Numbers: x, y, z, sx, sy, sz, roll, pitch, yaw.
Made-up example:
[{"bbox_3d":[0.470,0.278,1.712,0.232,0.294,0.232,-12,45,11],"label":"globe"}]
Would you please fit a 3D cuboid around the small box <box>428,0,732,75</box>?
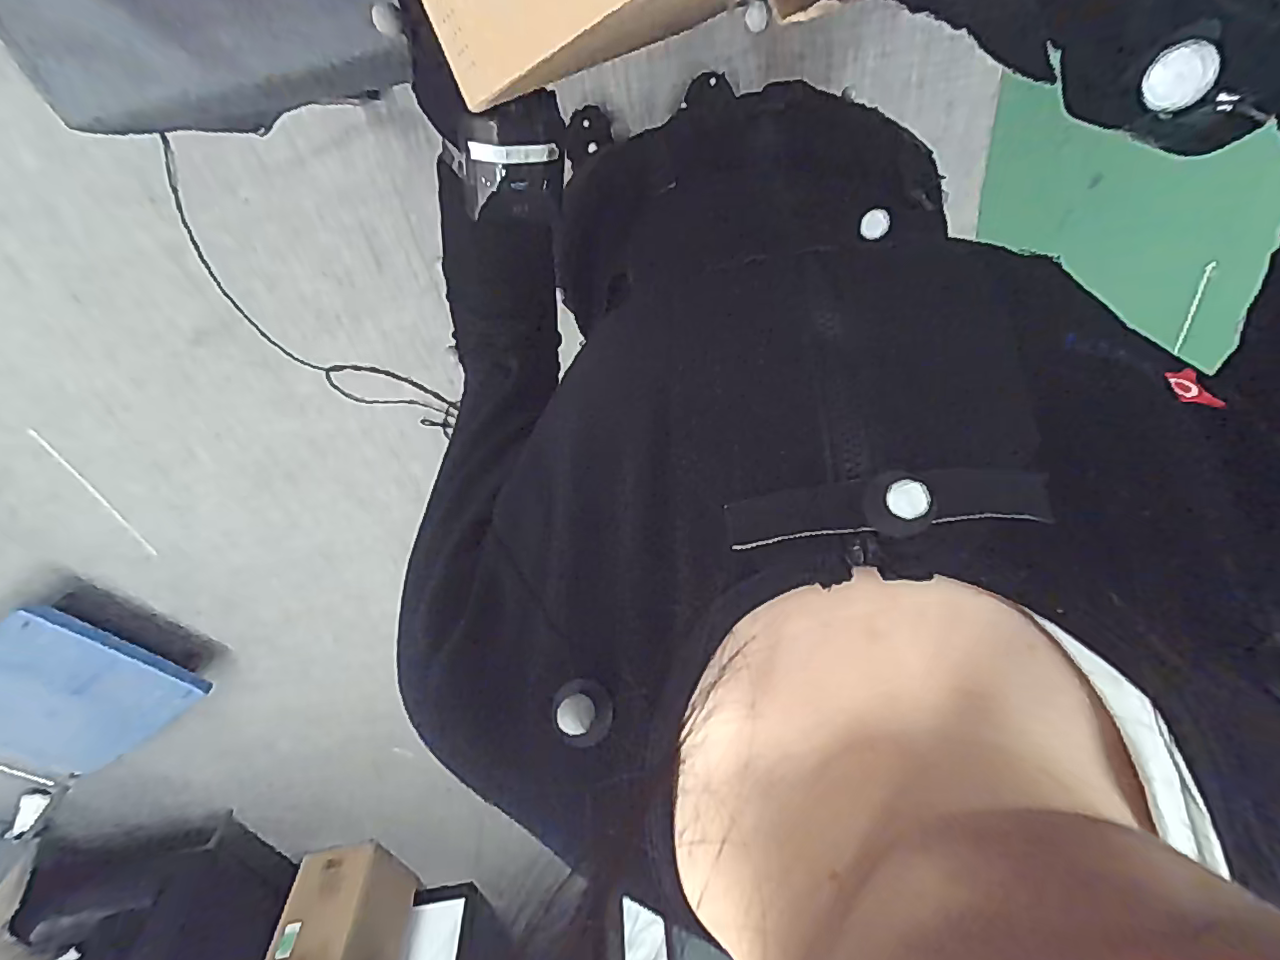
[{"bbox_3d":[-0.007,-0.275,0.190,0.168,0.176,0.179,-36,126,-20],"label":"small box"}]
